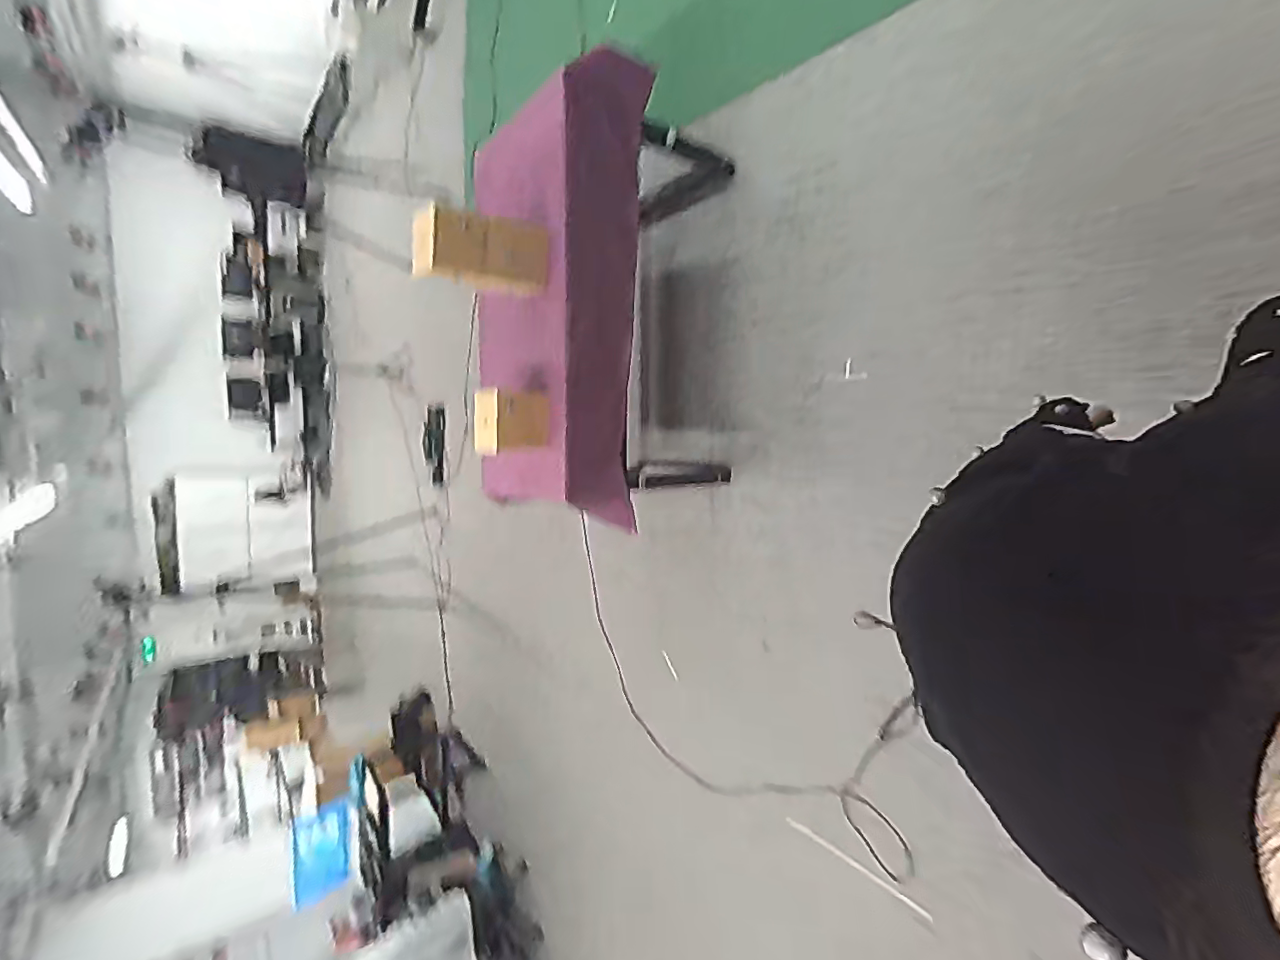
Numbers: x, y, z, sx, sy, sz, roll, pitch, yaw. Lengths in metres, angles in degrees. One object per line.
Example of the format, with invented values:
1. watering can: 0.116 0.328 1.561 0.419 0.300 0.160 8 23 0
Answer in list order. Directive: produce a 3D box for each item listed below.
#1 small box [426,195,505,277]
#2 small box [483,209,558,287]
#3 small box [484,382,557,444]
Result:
1. small box: -0.488 -0.674 1.512 0.179 0.176 0.168 17 105 51
2. small box: -0.355 -0.678 1.606 0.168 0.176 0.179 16 104 50
3. small box: -0.363 -0.202 1.647 0.168 0.176 0.179 9 98 51
